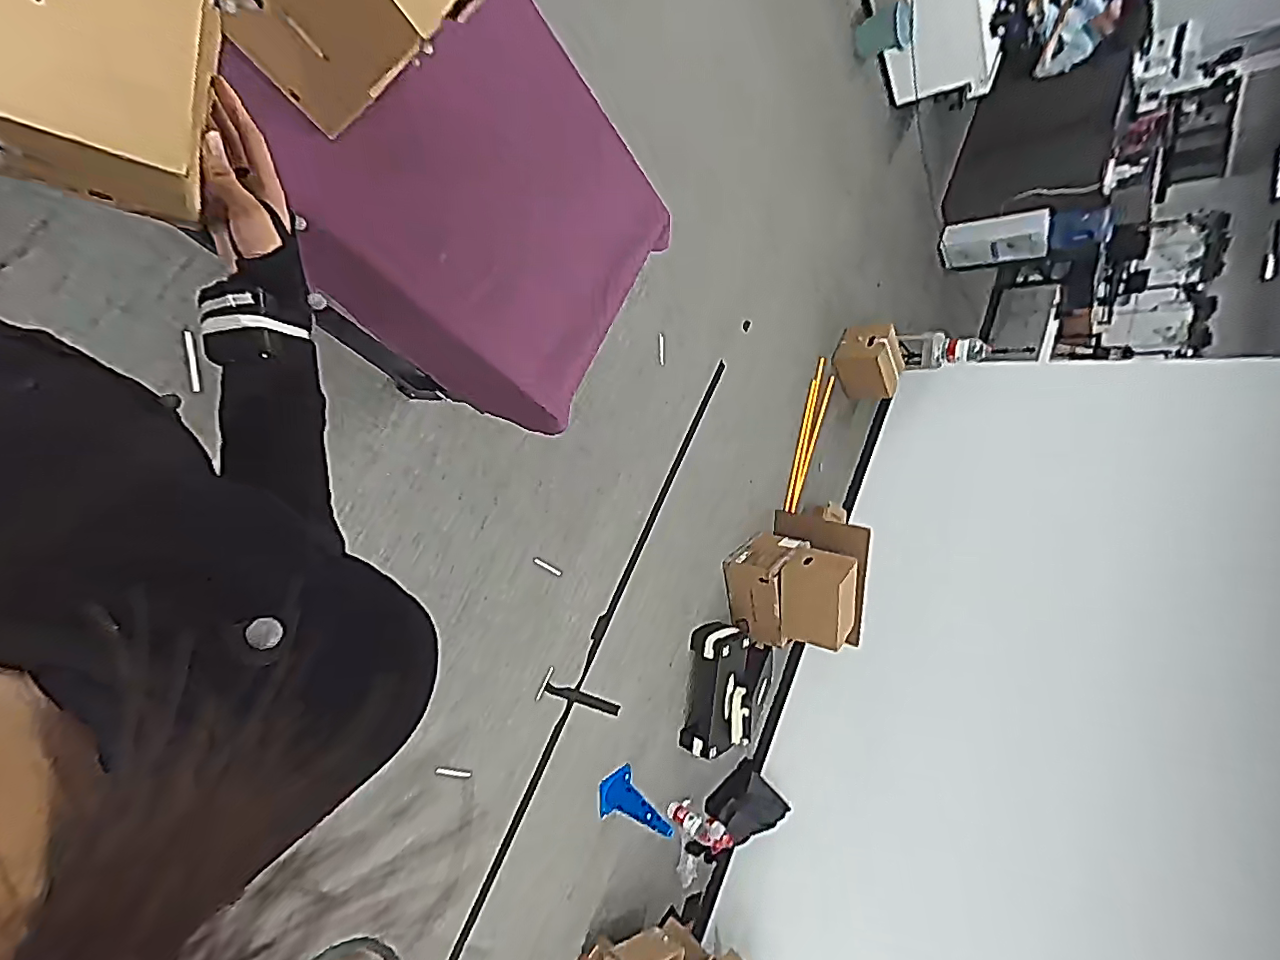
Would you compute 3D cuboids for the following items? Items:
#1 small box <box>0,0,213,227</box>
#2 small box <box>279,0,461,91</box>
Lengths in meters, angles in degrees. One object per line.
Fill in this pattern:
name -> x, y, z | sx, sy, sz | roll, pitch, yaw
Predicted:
small box -> -0.406, -0.301, 0.370 | 0.168, 0.176, 0.179 | 6, 93, -38
small box -> -0.301, -0.581, 0.590 | 0.179, 0.176, 0.168 | 43, 66, -42
